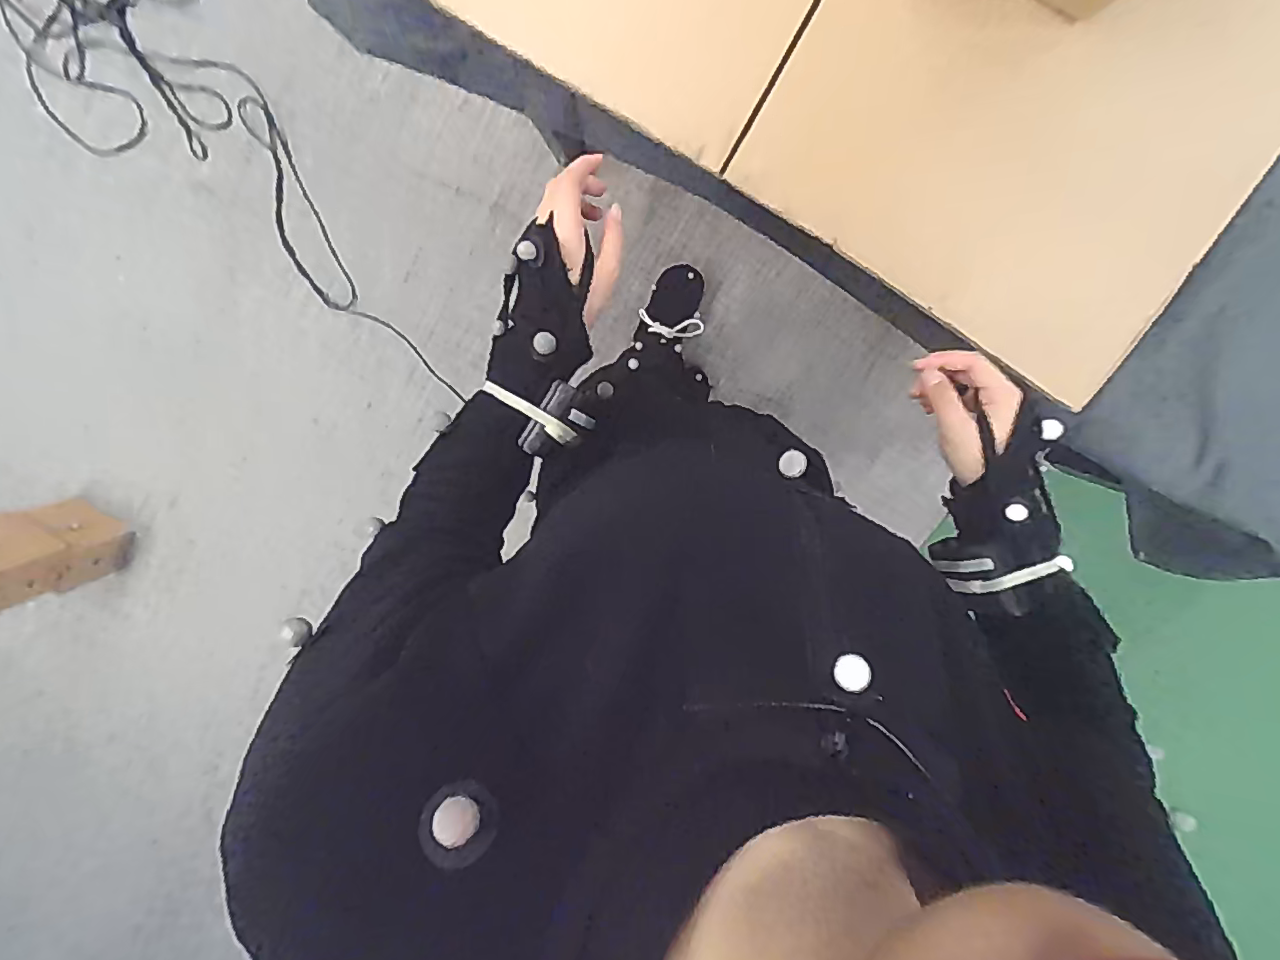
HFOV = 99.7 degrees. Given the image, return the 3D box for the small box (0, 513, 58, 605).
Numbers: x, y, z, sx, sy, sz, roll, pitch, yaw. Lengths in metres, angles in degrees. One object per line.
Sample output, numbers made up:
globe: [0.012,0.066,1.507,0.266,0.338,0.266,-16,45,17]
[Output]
small box: [-1.554,0.195,1.267,0.179,0.176,0.168,35,104,-7]

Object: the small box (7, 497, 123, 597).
small box: [-1.542,0.169,1.428,0.179,0.176,0.168,35,104,-8]
